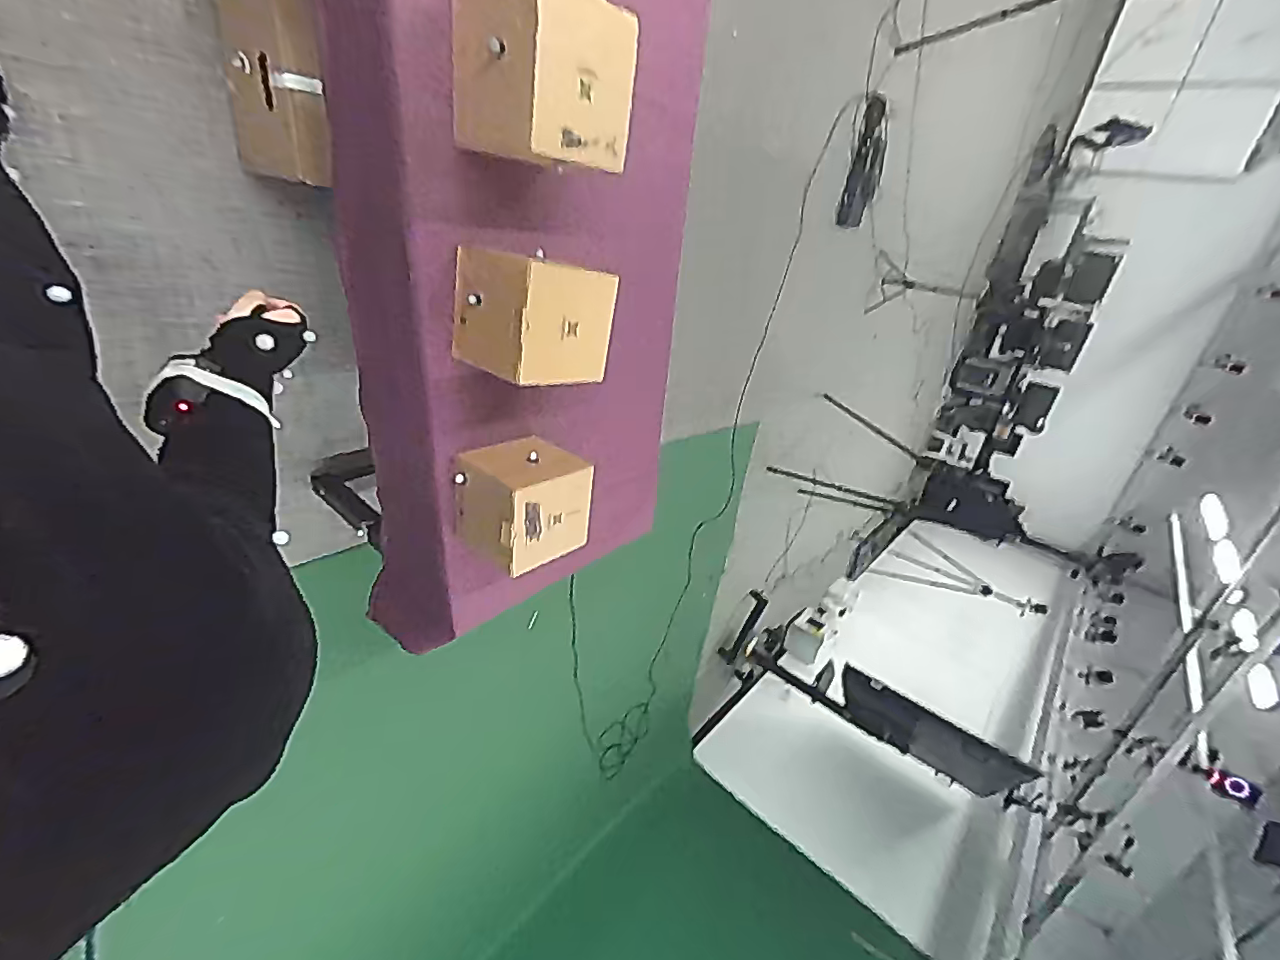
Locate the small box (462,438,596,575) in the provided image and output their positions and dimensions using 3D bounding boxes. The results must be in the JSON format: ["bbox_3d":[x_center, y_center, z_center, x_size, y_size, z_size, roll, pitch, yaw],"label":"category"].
[{"bbox_3d":[-0.204,0.038,0.975,0.179,0.176,0.168,-21,128,-46],"label":"small box"}]

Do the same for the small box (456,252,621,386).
[{"bbox_3d":[-0.160,-0.251,0.845,0.179,0.176,0.168,-14,123,-47],"label":"small box"}]

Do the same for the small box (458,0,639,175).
[{"bbox_3d":[-0.124,-0.516,0.711,0.168,0.176,0.179,-20,127,-45],"label":"small box"}]
